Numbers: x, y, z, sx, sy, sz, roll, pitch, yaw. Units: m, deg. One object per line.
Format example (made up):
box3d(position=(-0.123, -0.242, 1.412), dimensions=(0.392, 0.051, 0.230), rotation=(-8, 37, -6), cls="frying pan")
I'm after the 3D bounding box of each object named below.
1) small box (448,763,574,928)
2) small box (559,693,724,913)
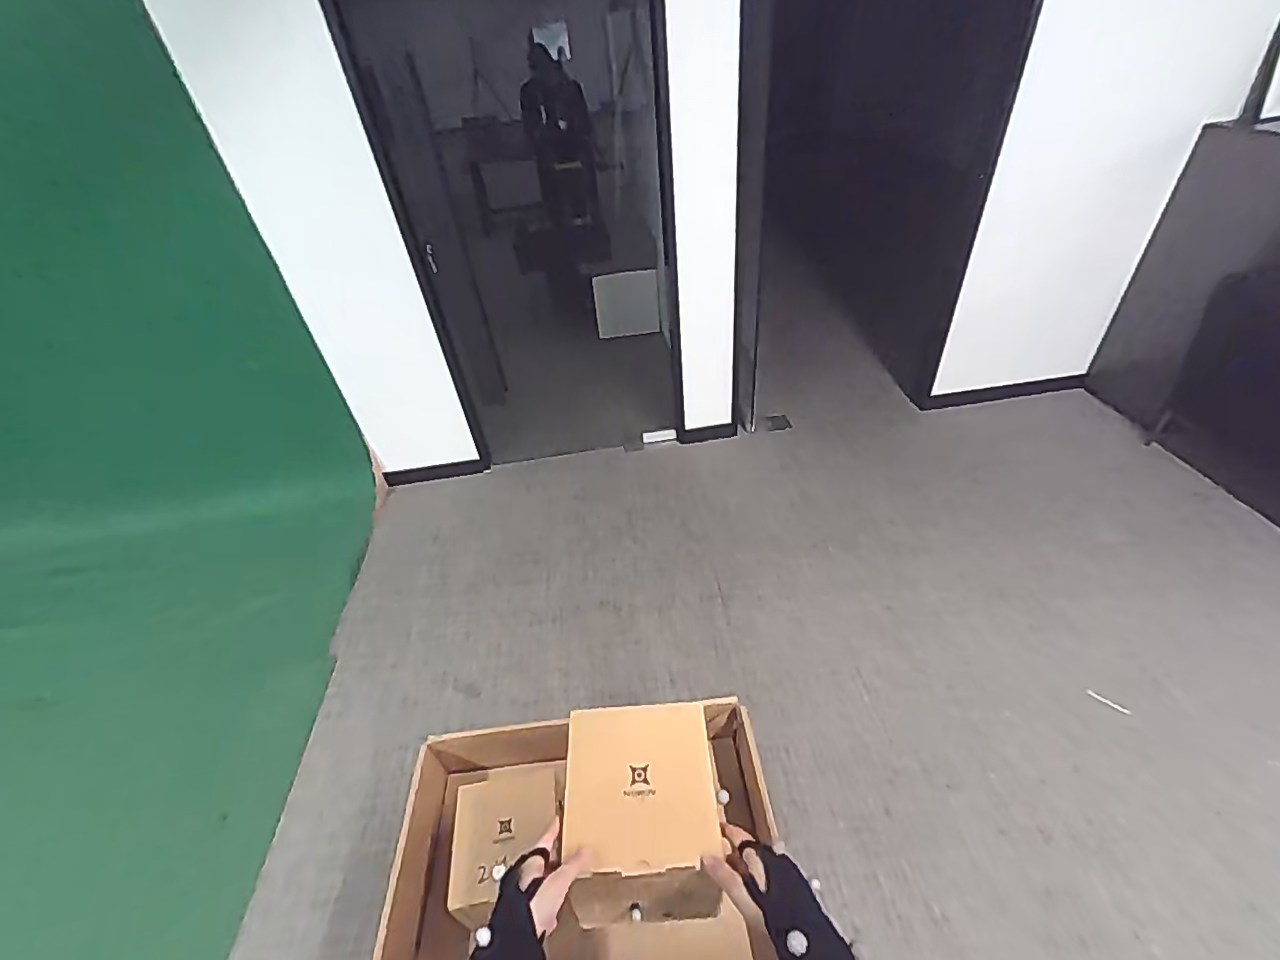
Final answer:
box3d(position=(-0.207, 0.614, 0.911), dimensions=(0.168, 0.176, 0.179), rotation=(-9, 40, -3), cls="small box")
box3d(position=(0.002, 0.380, 0.643), dimensions=(0.168, 0.176, 0.179), rotation=(-4, 38, 0), cls="small box")
